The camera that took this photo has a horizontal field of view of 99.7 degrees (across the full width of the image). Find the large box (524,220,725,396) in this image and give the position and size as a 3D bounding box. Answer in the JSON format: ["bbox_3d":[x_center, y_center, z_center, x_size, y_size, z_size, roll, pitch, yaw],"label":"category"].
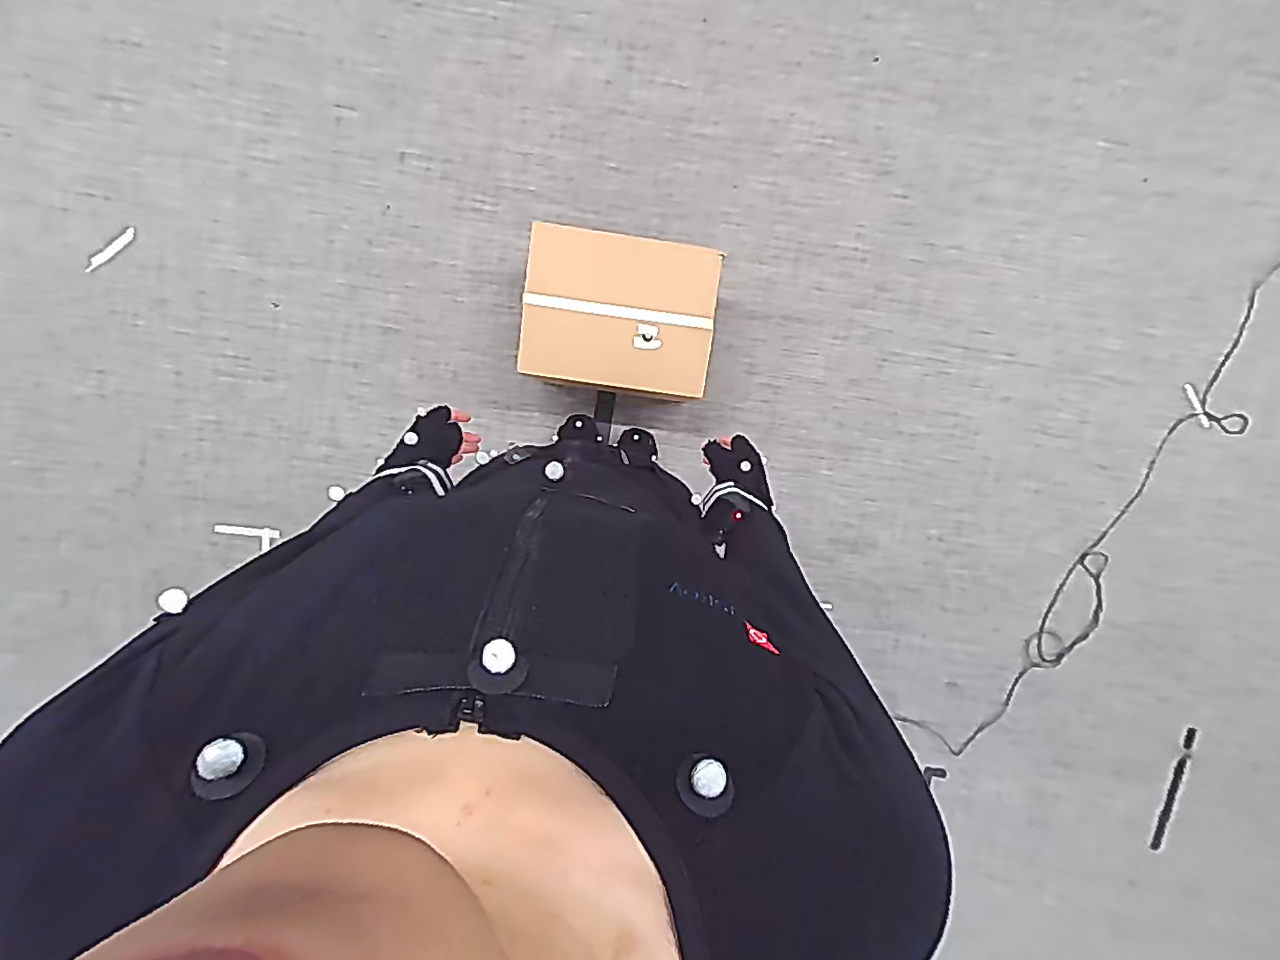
[{"bbox_3d":[-0.042,-0.381,1.286,0.408,0.320,0.320,7,97,-3],"label":"large box"}]
